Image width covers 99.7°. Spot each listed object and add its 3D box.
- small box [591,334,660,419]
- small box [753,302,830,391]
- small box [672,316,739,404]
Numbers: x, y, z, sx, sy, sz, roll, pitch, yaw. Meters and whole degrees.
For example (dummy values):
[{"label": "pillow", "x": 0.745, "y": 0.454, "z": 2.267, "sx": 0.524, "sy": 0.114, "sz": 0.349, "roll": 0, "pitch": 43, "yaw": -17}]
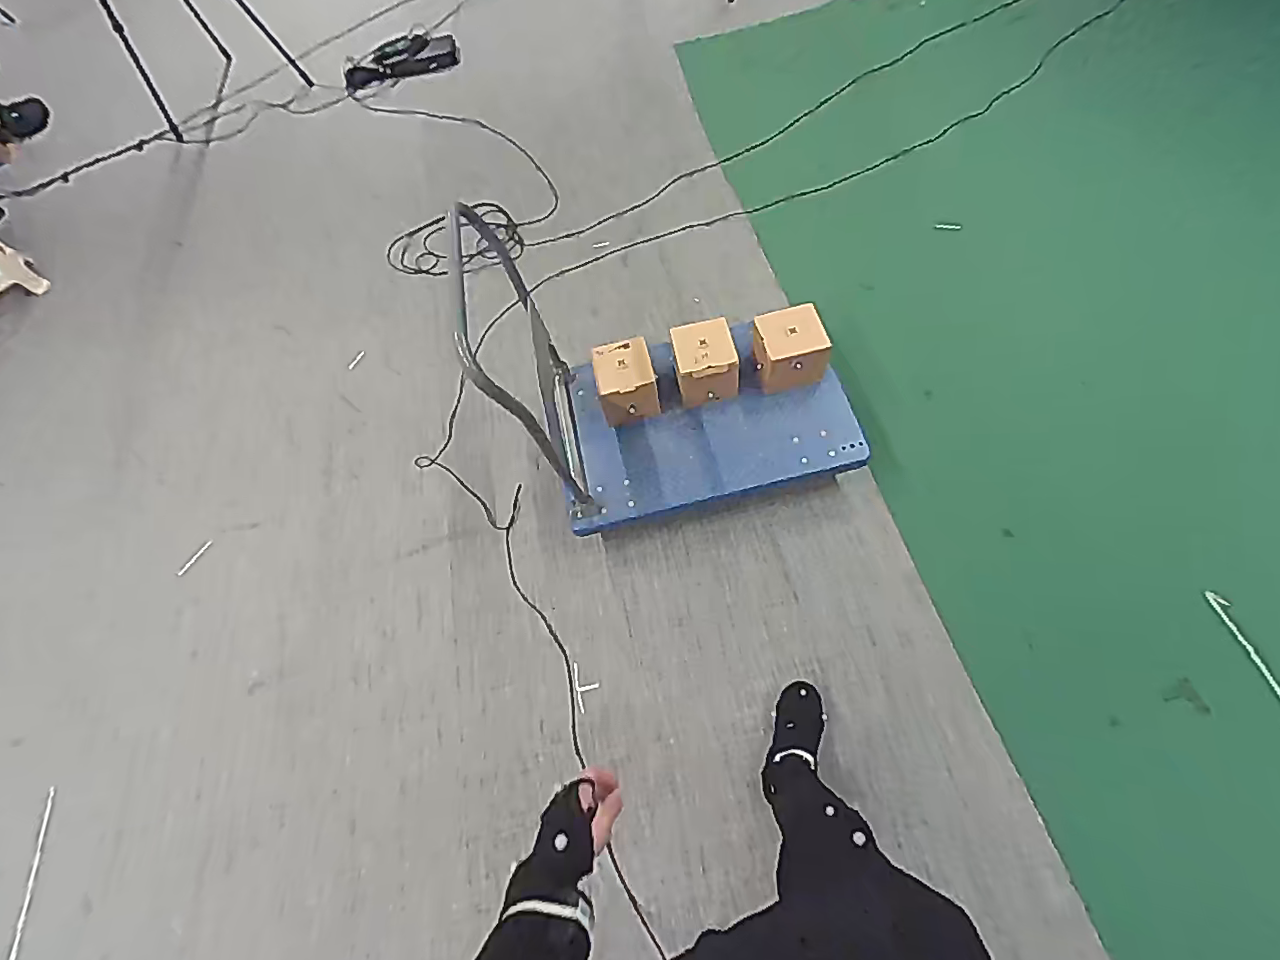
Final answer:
[{"label": "small box", "x": -0.040, "y": -0.296, "z": 1.600, "sx": 0.168, "sy": 0.176, "sz": 0.179, "roll": -12, "pitch": 63, "yaw": 2}, {"label": "small box", "x": 0.433, "y": -0.382, "z": 1.577, "sx": 0.179, "sy": 0.176, "sz": 0.168, "roll": -13, "pitch": 63, "yaw": 2}, {"label": "small box", "x": 0.190, "y": -0.351, "z": 1.596, "sx": 0.168, "sy": 0.176, "sz": 0.179, "roll": -11, "pitch": 63, "yaw": 3}]
